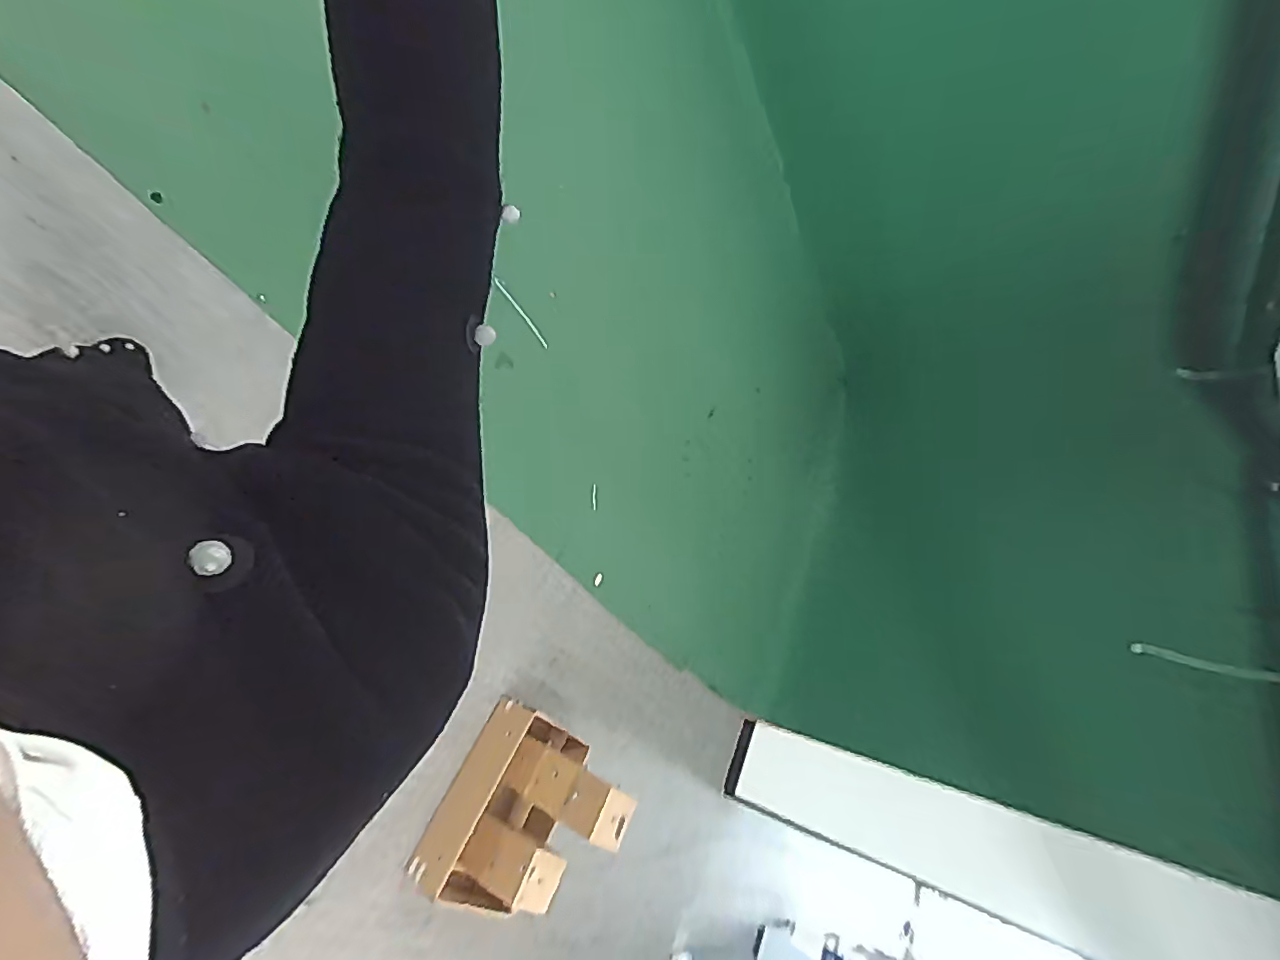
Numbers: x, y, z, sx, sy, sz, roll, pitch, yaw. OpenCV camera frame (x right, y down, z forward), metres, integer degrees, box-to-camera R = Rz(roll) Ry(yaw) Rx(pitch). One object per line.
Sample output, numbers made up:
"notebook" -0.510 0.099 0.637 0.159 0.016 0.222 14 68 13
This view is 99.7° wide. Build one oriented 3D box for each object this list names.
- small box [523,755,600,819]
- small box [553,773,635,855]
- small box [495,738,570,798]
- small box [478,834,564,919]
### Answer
"small box" -0.279 1.092 1.900 0.179 0.176 0.168 52 55 -39
"small box" -0.154 1.102 1.793 0.179 0.176 0.168 51 55 -38
"small box" -0.401 1.083 2.005 0.179 0.176 0.168 53 54 -38
"small box" -0.389 1.296 1.774 0.179 0.176 0.168 53 51 -39
